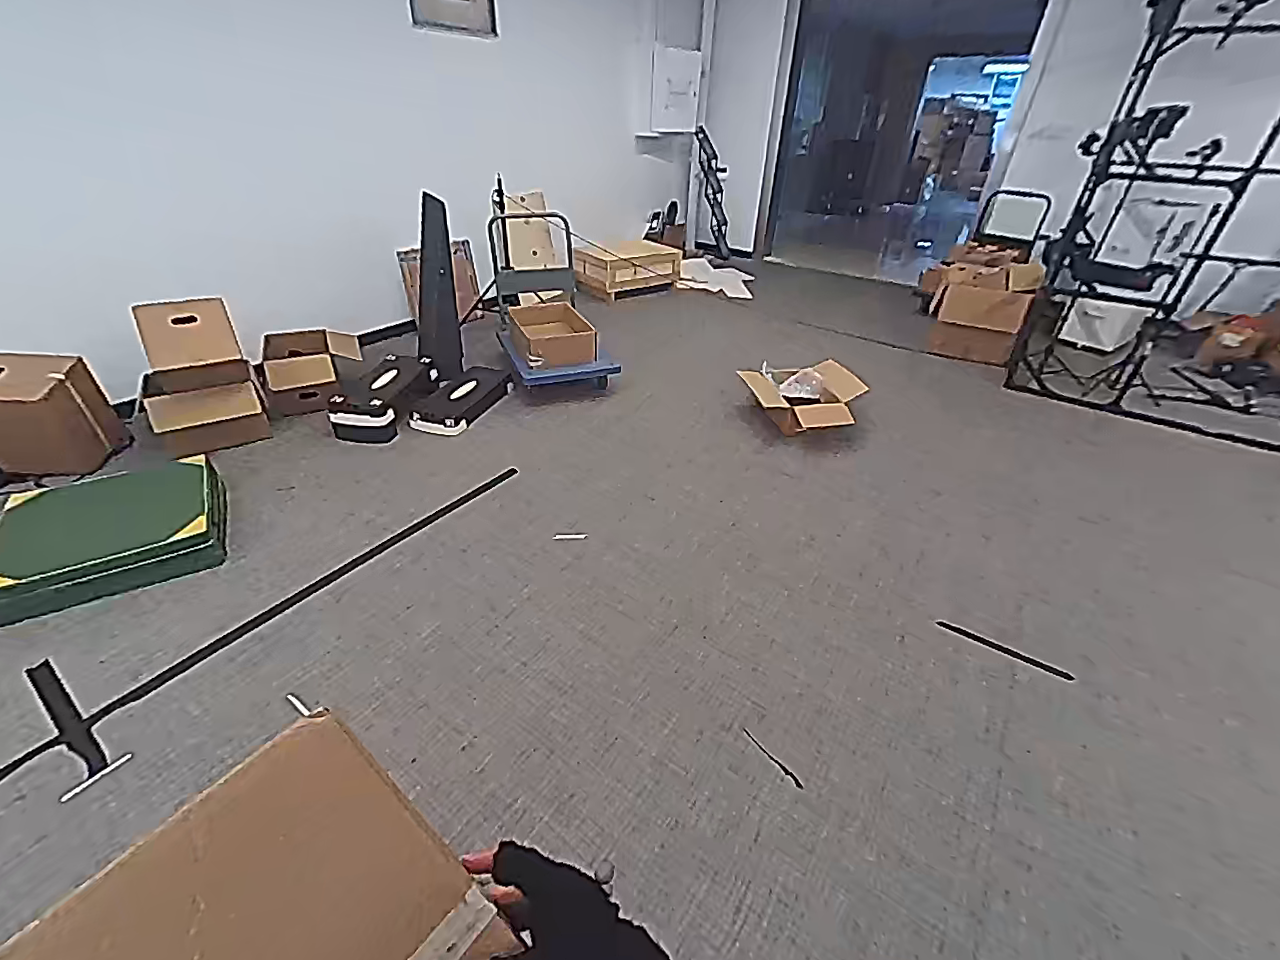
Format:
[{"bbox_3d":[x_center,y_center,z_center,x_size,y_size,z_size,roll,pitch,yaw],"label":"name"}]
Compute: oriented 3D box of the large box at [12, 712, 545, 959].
[{"bbox_3d":[-0.270,0.434,0.336,0.320,0.320,0.408,45,54,8],"label":"large box"}]
